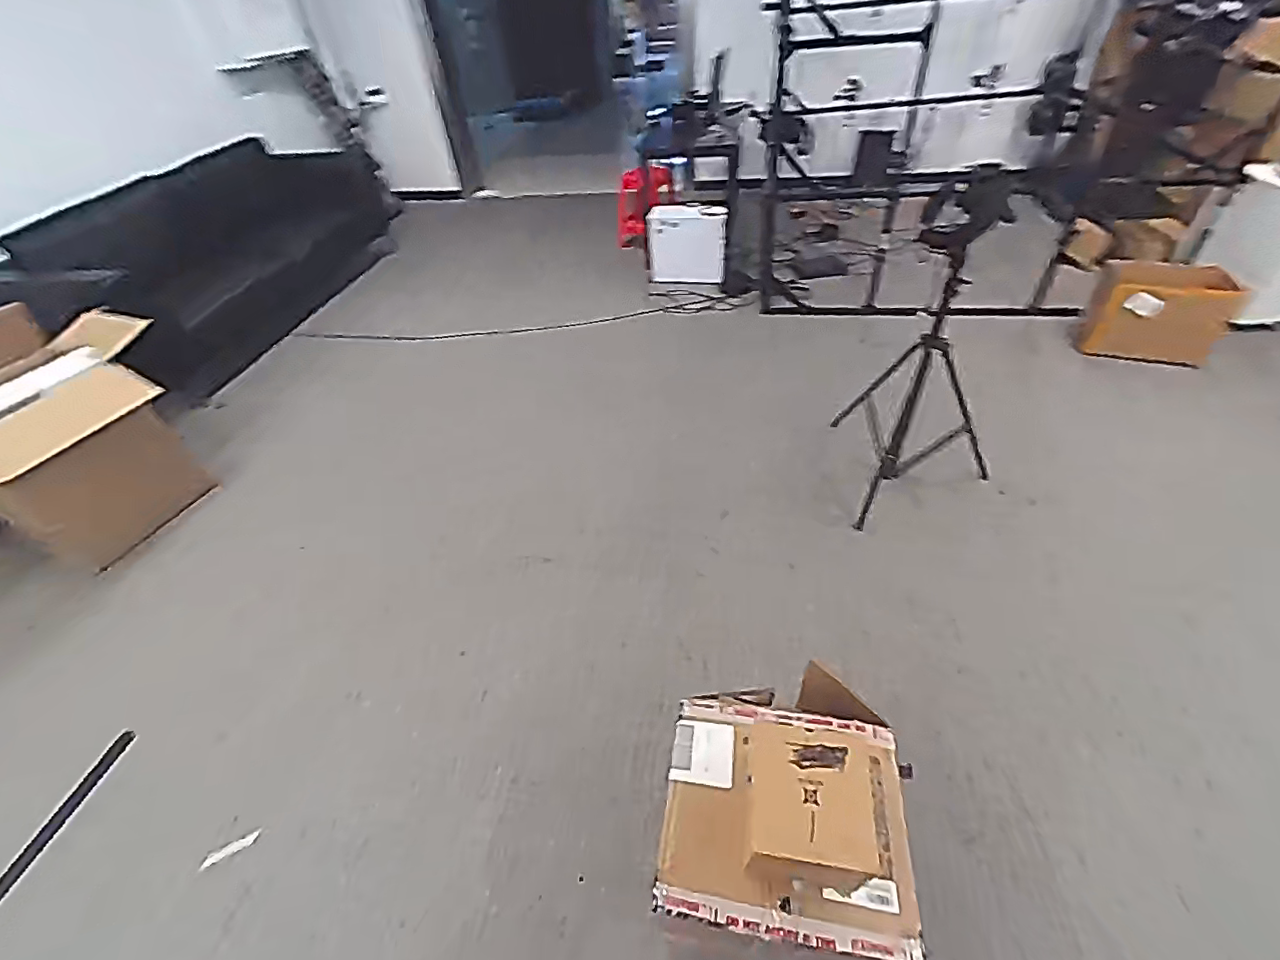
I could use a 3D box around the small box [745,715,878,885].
[{"bbox_3d":[0.250,0.488,0.826,0.168,0.176,0.179,4,48,11],"label":"small box"}]
